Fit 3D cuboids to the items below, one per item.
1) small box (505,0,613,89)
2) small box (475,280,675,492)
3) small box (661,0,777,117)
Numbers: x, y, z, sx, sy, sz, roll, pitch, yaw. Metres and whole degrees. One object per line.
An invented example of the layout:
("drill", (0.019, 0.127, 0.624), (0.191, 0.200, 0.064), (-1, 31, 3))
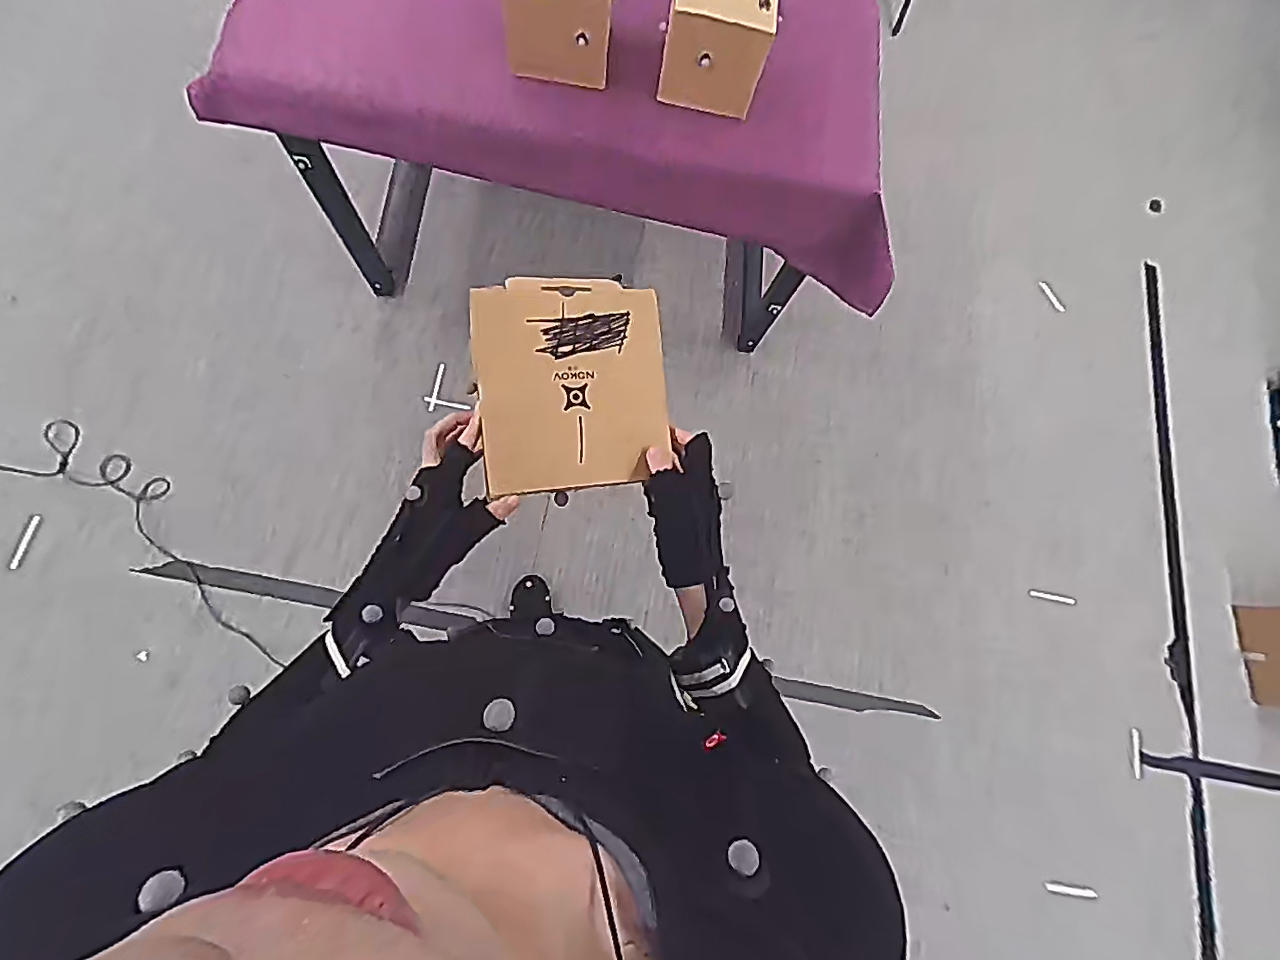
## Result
("small box", (-0.137, -0.837, 0.958), (0.179, 0.176, 0.168), (3, 75, -6))
("small box", (-0.076, -0.083, 0.546), (0.168, 0.176, 0.179), (-6, 89, -16))
("small box", (0.139, -0.805, 0.984), (0.179, 0.176, 0.168), (8, 76, -4))
